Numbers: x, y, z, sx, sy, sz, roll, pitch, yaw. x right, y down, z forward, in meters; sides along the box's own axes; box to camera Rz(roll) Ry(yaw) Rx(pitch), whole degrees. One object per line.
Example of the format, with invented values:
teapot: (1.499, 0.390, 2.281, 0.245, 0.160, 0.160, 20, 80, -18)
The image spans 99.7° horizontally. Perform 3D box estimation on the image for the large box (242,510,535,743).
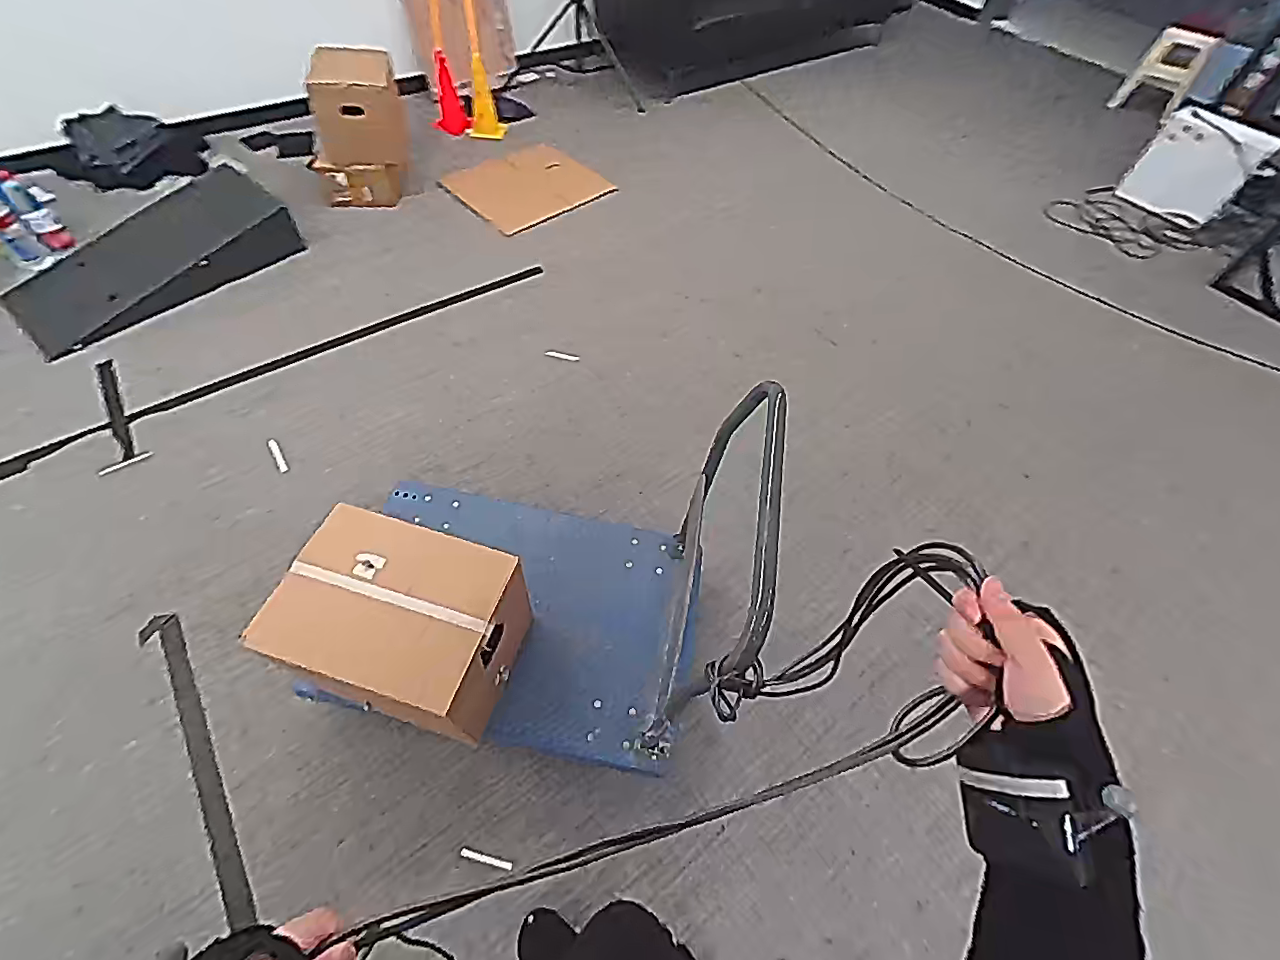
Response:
large box: (-0.472, 0.311, 1.126, 0.408, 0.320, 0.320, 15, 55, 7)
